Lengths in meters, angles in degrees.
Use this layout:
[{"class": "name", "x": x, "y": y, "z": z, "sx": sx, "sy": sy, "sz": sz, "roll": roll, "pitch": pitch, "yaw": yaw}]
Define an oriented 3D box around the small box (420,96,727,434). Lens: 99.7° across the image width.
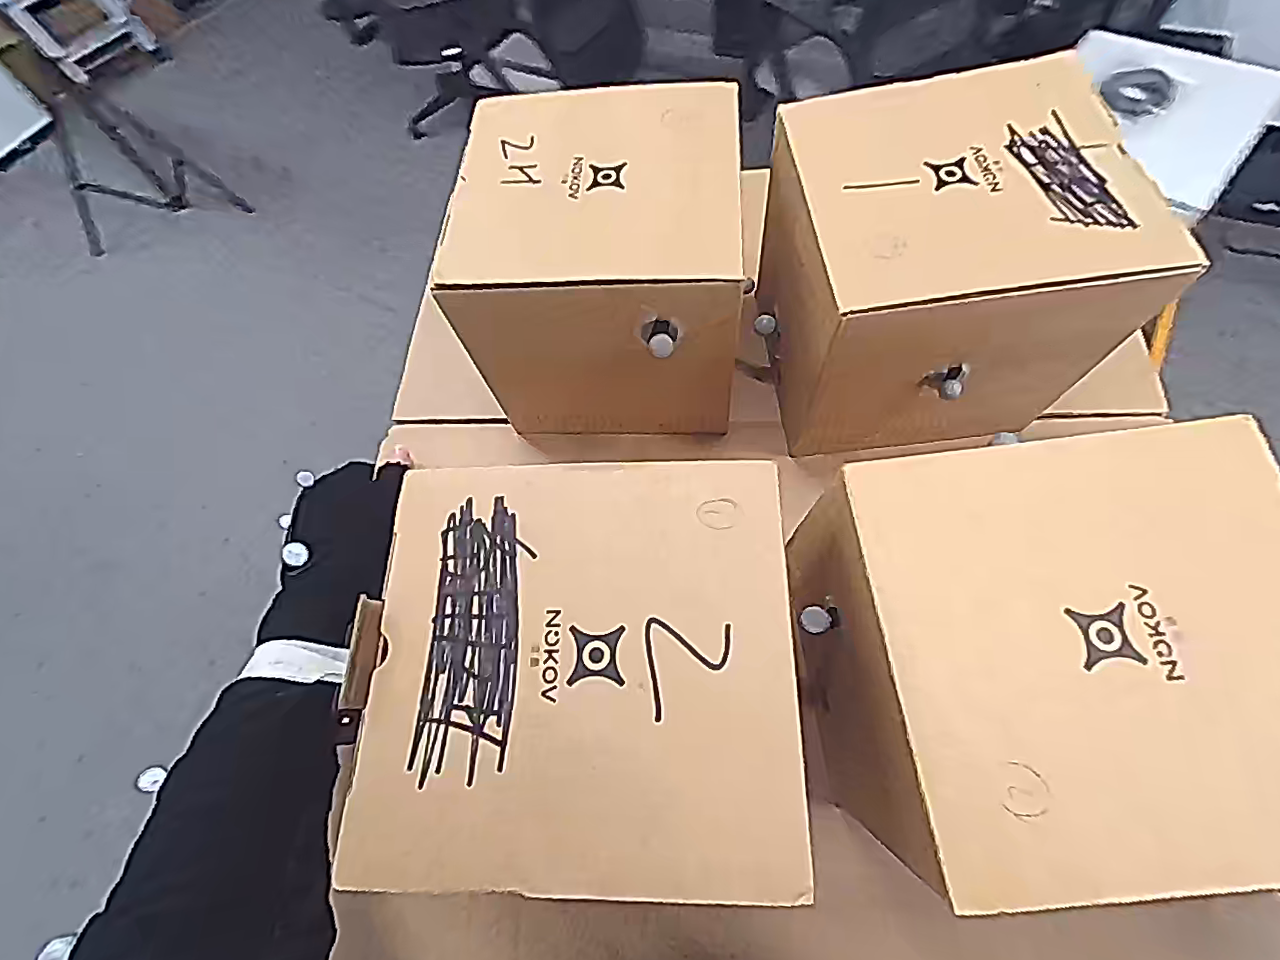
[{"class": "small box", "x": -0.028, "y": -0.144, "z": 0.404, "sx": 0.179, "sy": 0.176, "sz": 0.168, "roll": 0, "pitch": 66, "yaw": 7}]
